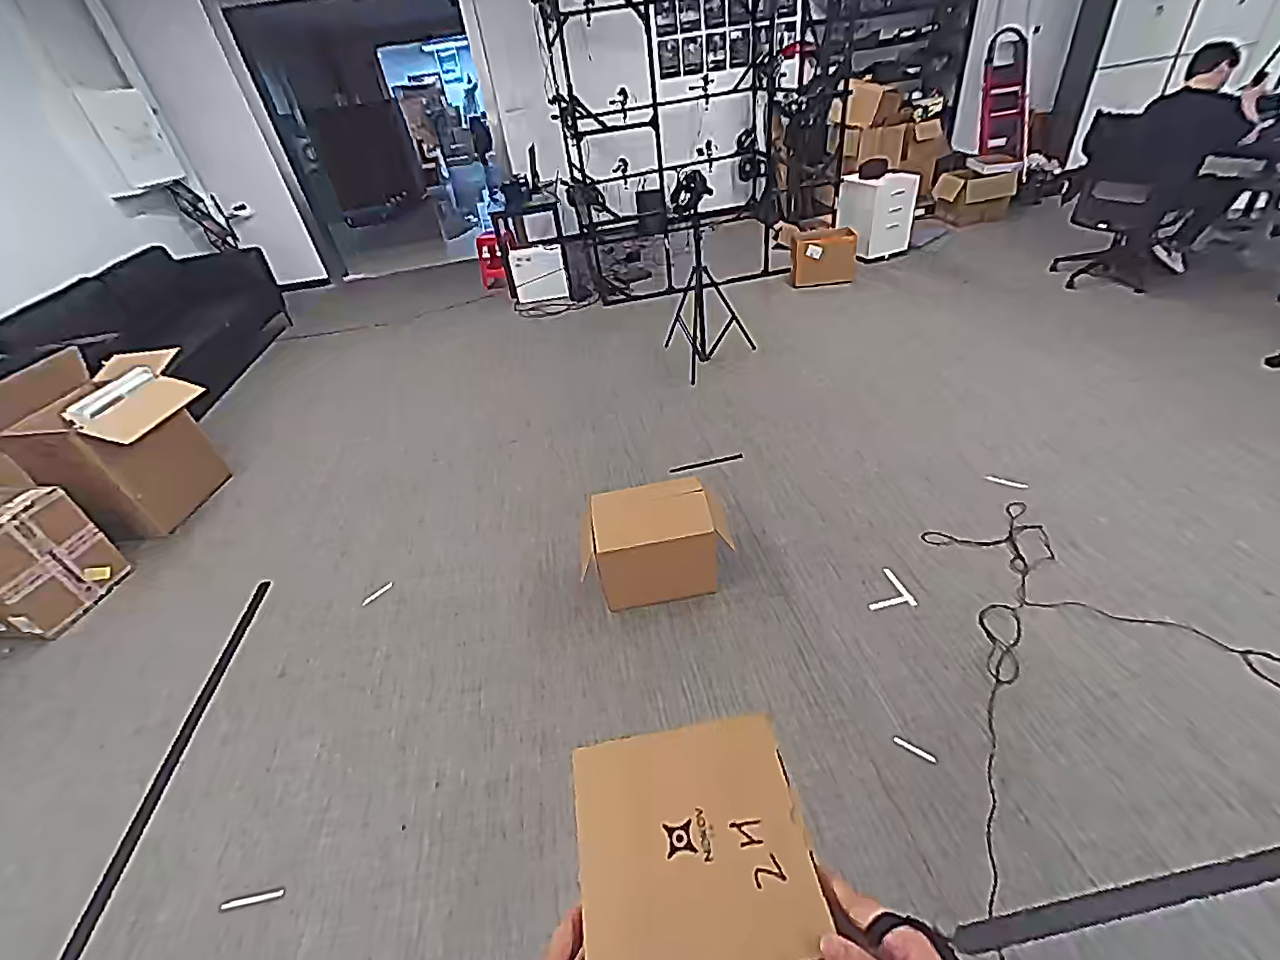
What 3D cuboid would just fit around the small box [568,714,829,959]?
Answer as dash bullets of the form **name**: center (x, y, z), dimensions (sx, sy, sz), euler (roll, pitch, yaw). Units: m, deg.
- **small box**: center (0.040, 0.334, 0.475), dimensions (0.179, 0.176, 0.168), euler (-9, 44, -4)
